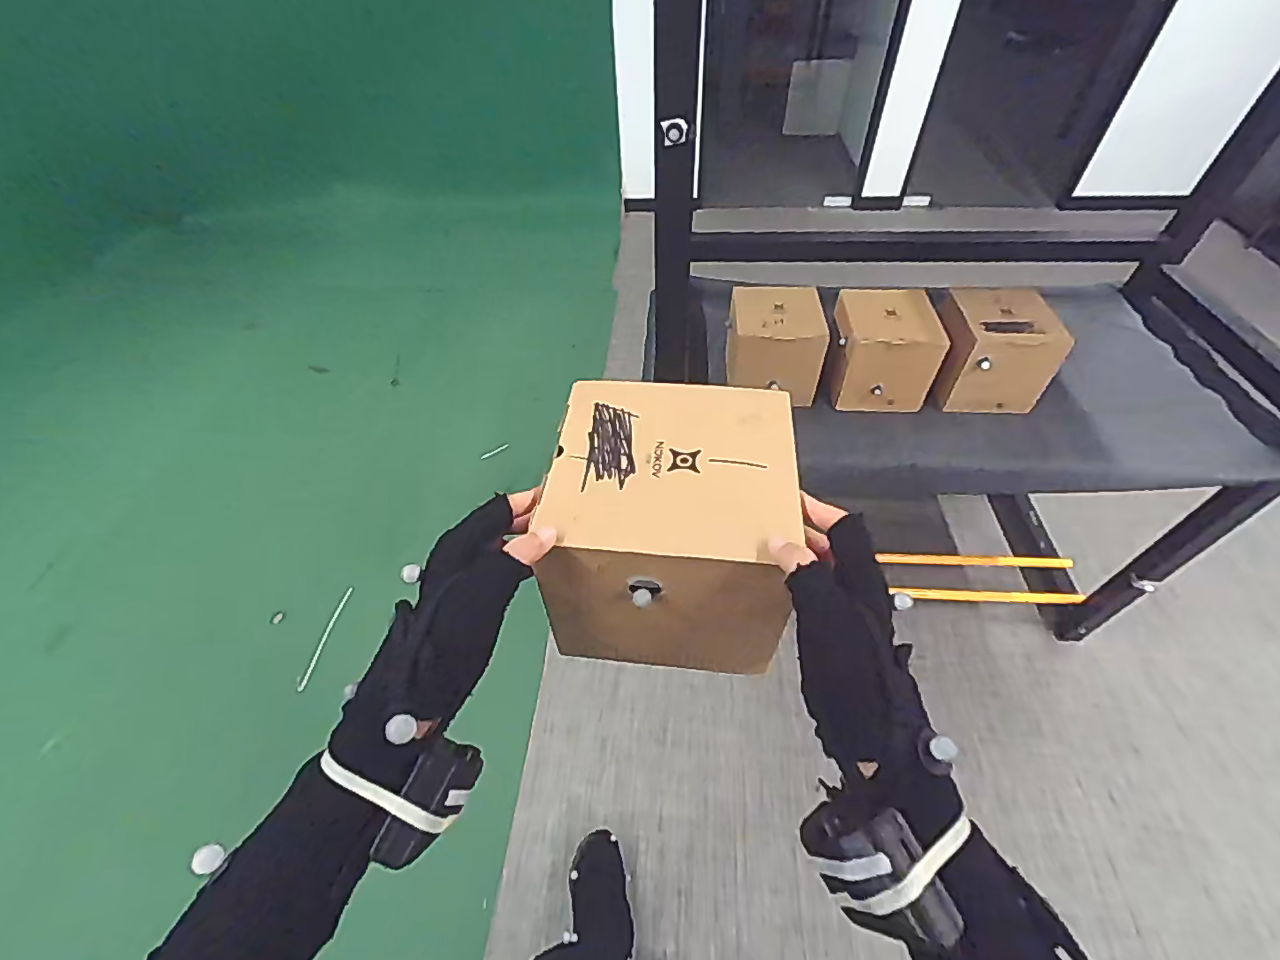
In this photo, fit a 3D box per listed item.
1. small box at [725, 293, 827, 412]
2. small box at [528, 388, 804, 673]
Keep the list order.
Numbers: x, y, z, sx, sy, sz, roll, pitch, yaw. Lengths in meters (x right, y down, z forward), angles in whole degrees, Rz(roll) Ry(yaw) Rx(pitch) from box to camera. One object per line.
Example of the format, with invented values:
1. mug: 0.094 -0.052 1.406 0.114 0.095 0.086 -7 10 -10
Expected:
1. small box: 0.264 -0.258 1.092 0.168 0.176 0.179 1 49 4
2. small box: 0.025 0.044 0.446 0.179 0.176 0.168 4 48 5
